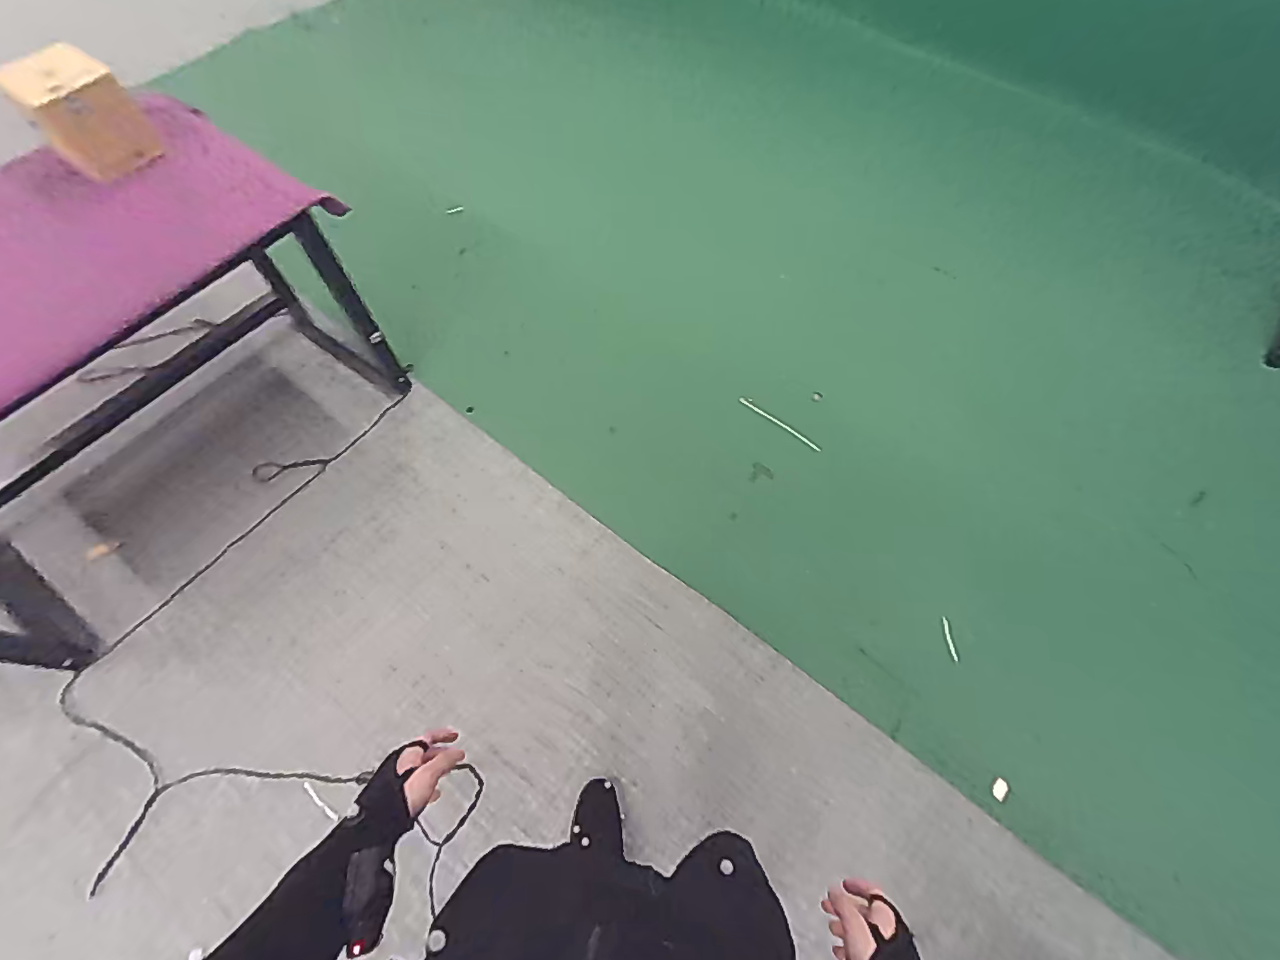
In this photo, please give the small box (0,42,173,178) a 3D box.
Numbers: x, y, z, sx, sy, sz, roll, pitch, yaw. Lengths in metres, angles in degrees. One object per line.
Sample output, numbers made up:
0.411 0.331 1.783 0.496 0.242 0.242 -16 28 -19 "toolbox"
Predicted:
-1.196 -0.801 1.180 0.179 0.176 0.168 33 68 14 "small box"
